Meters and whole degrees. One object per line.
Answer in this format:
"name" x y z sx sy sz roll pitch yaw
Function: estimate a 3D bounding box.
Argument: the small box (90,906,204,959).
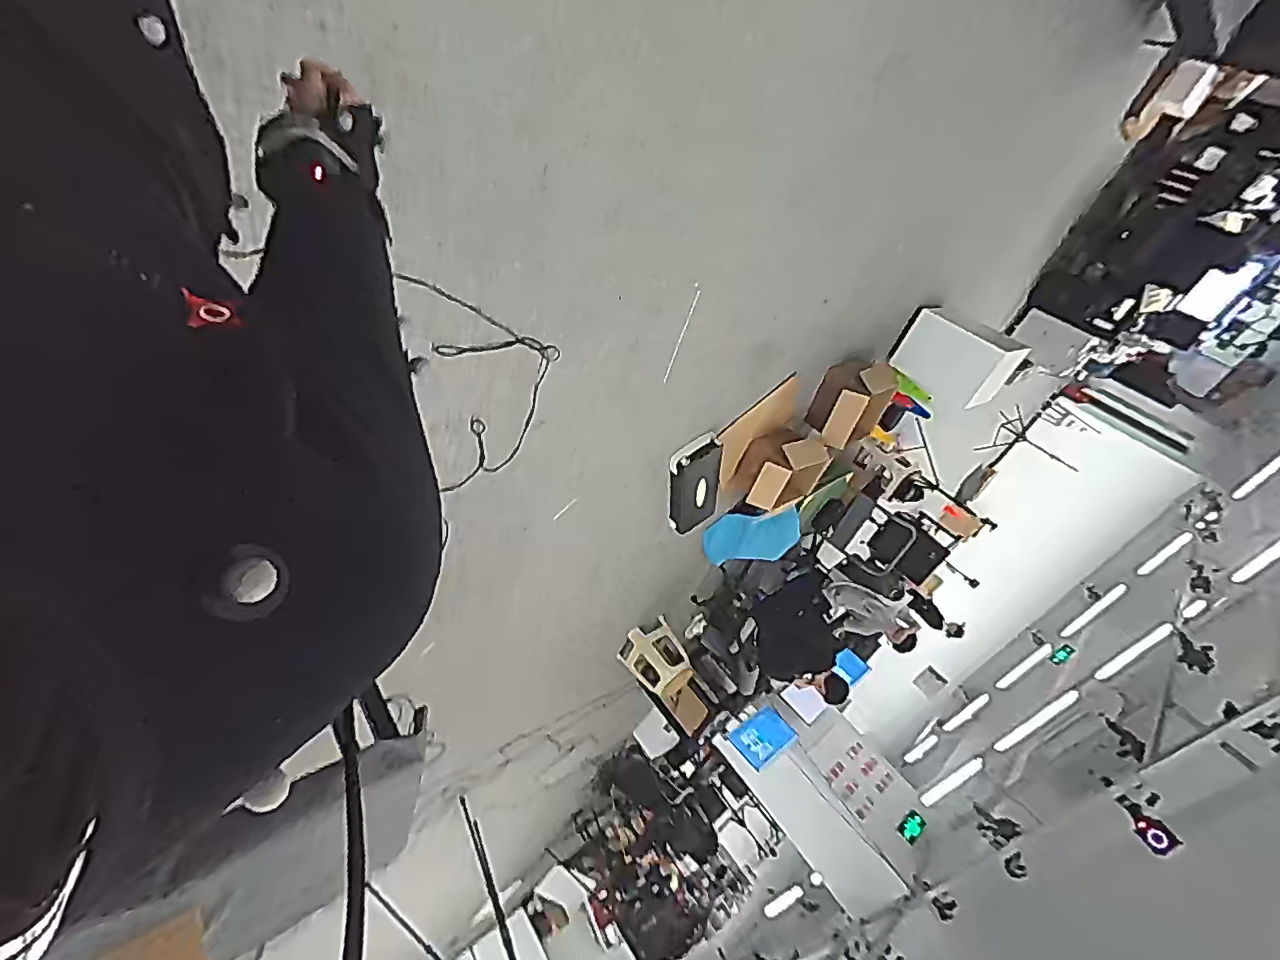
"small box" -0.997 1.018 1.084 0.179 0.176 0.168 -7 136 -47
